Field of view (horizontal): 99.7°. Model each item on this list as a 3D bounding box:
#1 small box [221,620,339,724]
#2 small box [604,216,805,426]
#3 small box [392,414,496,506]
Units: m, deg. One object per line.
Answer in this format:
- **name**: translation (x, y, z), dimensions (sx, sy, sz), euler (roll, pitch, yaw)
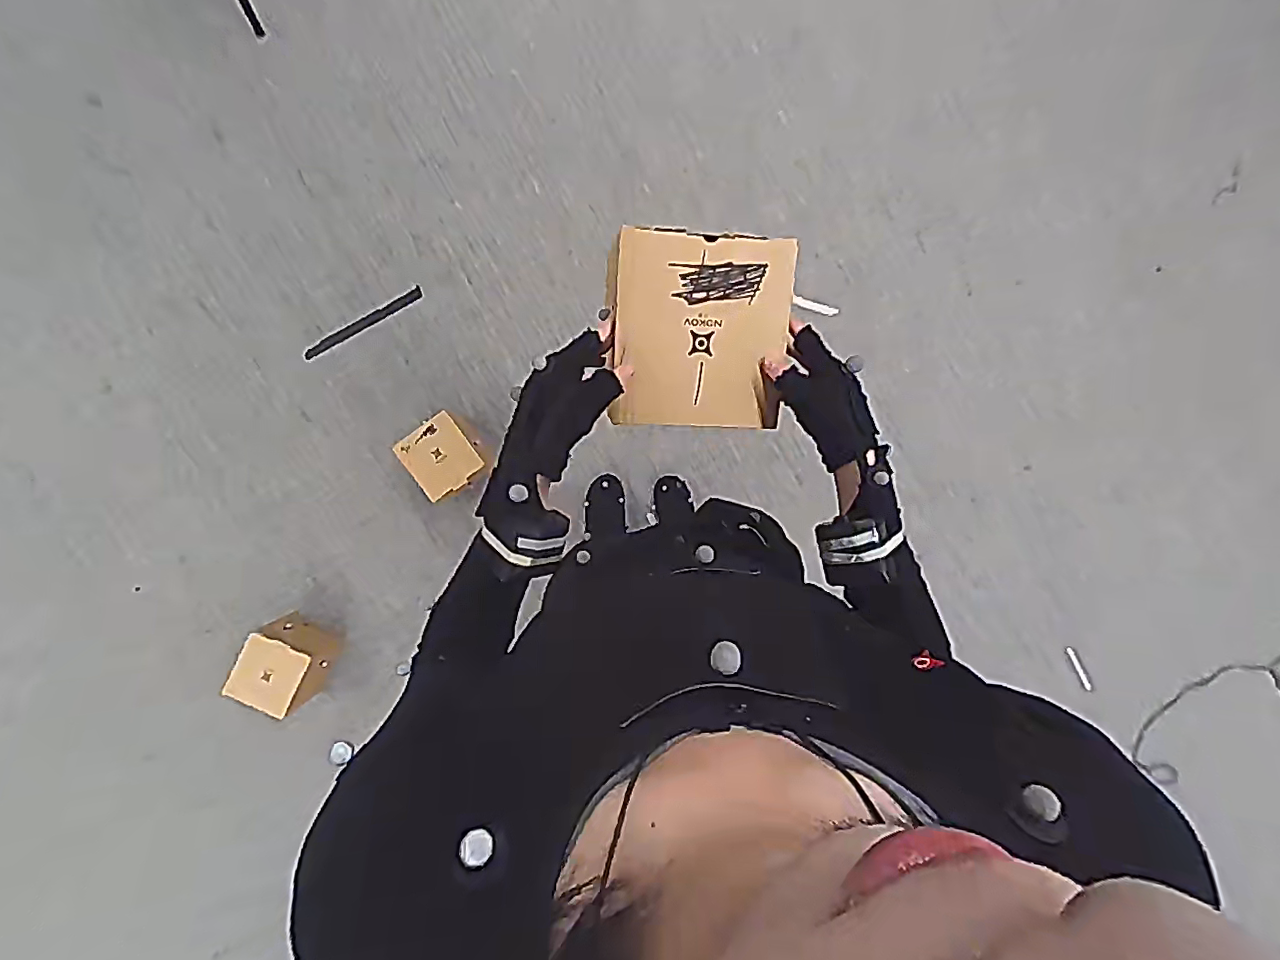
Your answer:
- **small box**: translation (-0.924, 0.489, 1.409), dimensions (0.168, 0.176, 0.179), euler (25, 90, -1)
- **small box**: translation (0.051, -0.158, 0.565), dimensions (0.168, 0.176, 0.179), euler (1, 106, -8)
- **small box**: translation (-0.503, -0.053, 1.419), dimensions (0.168, 0.176, 0.179), euler (-36, 93, -2)
